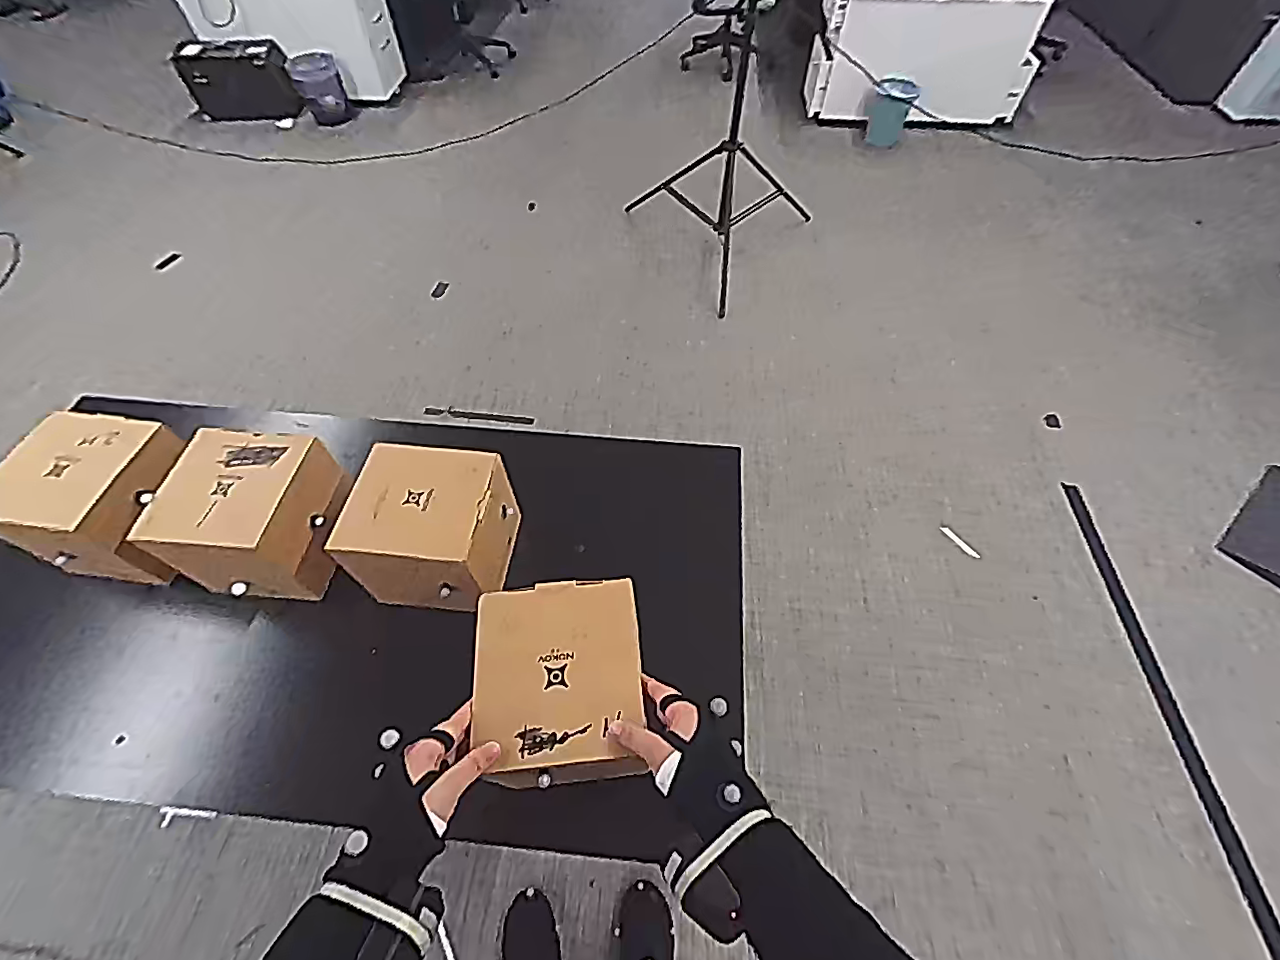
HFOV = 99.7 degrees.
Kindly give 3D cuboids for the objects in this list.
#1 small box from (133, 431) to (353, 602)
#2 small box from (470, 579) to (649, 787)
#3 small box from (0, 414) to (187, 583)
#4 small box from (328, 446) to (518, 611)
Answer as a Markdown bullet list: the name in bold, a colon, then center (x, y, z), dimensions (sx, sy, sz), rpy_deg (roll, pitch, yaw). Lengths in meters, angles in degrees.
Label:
- **small box**: center (-0.530, 0.054, 0.764), dimensions (0.168, 0.176, 0.179), rpy_deg (4, 57, 2)
- **small box**: center (-0.080, 0.230, 0.605), dimensions (0.168, 0.176, 0.179), rpy_deg (-6, 57, -2)
- **small box**: center (-0.753, 0.032, 0.779), dimensions (0.168, 0.176, 0.179), rpy_deg (7, 55, 4)
- **small box**: center (-0.282, 0.073, 0.754), dimensions (0.179, 0.176, 0.168), rpy_deg (4, 54, 4)
